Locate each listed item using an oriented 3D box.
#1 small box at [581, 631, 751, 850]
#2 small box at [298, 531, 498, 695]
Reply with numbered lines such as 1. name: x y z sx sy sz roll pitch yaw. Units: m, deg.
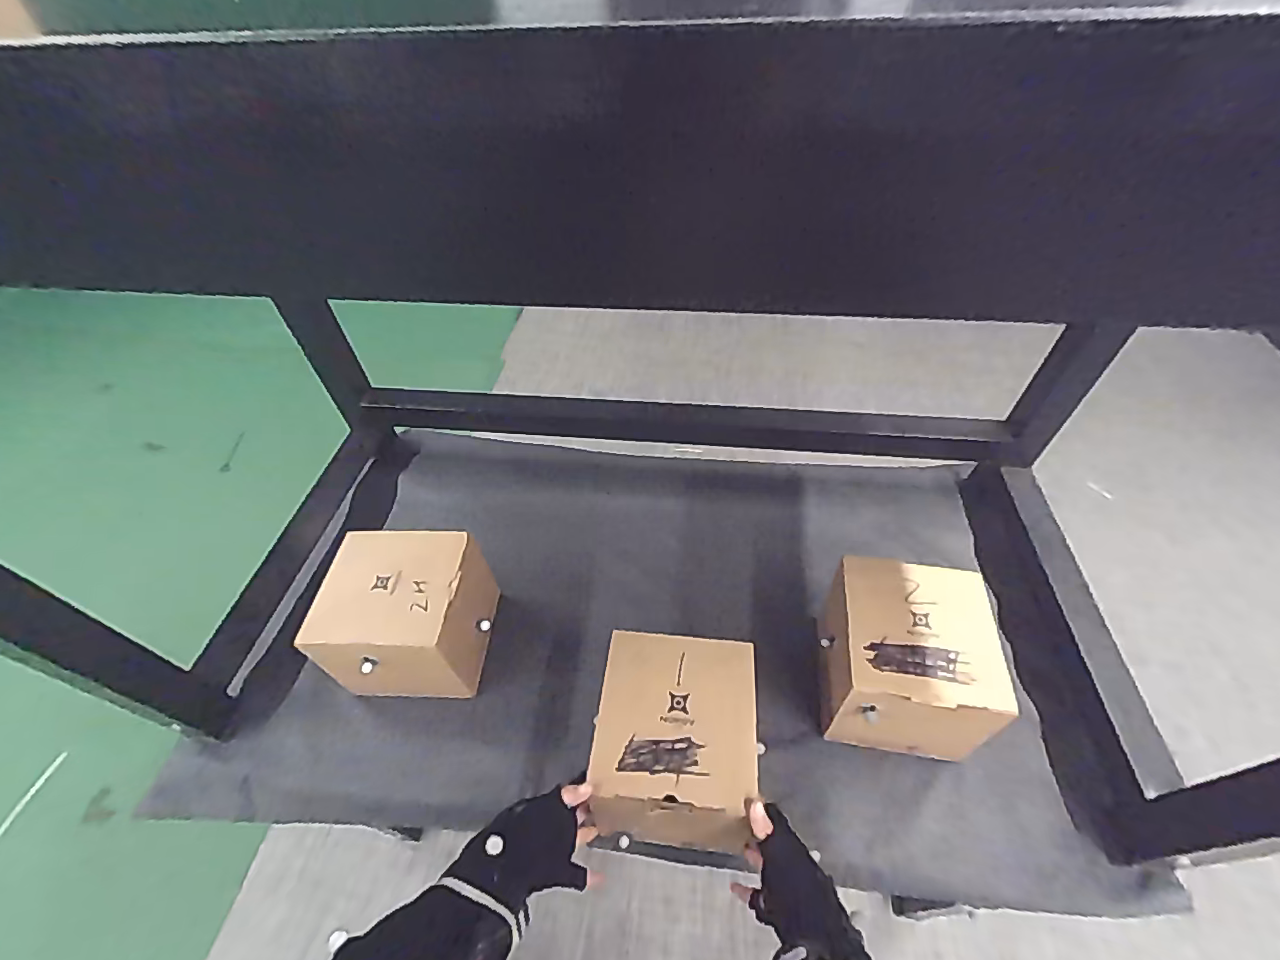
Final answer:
1. small box: 0.038 0.301 0.624 0.168 0.176 0.179 4 44 6
2. small box: -0.317 0.187 0.750 0.179 0.176 0.168 1 49 3
